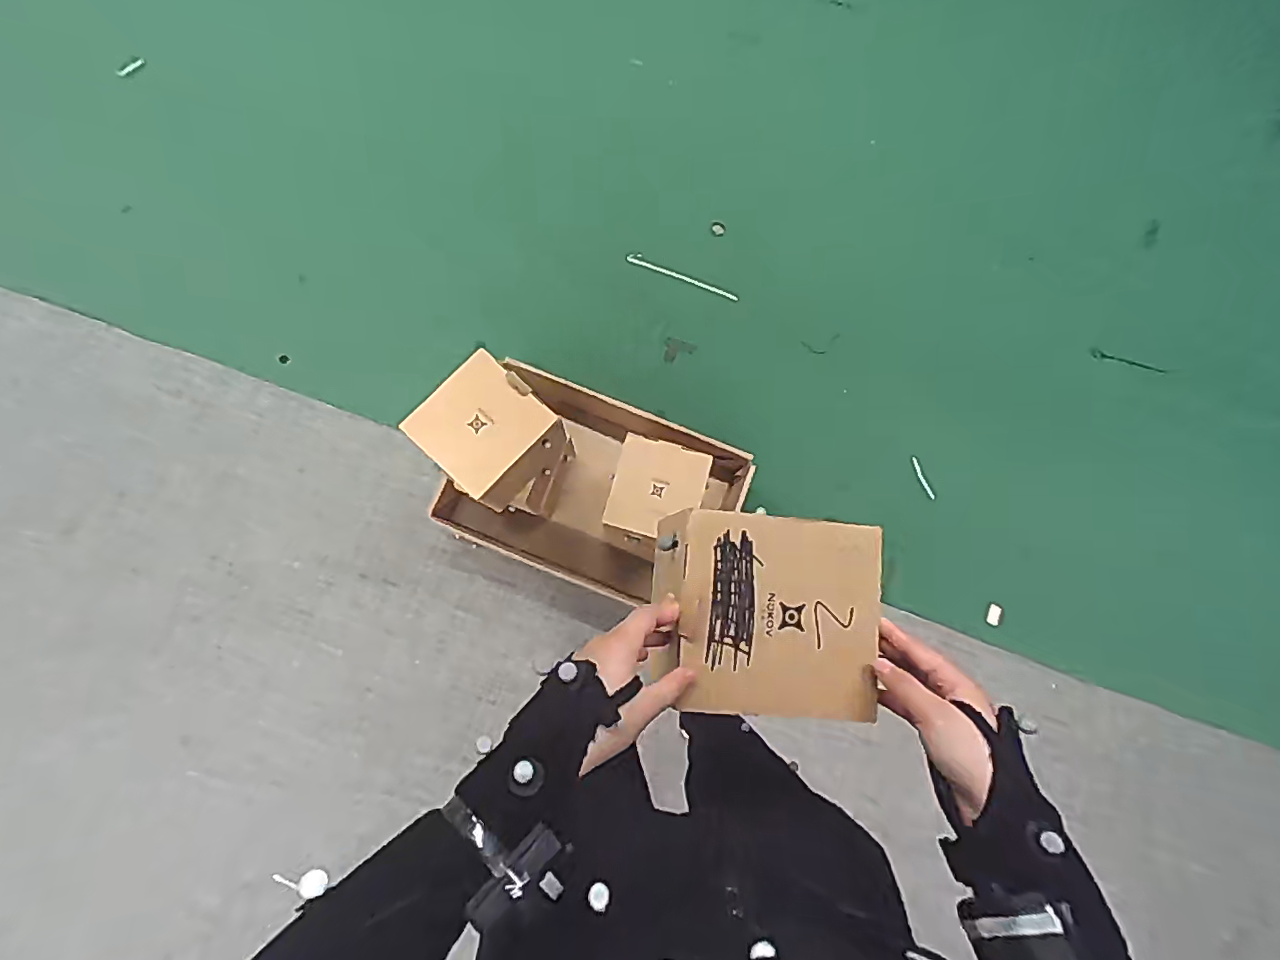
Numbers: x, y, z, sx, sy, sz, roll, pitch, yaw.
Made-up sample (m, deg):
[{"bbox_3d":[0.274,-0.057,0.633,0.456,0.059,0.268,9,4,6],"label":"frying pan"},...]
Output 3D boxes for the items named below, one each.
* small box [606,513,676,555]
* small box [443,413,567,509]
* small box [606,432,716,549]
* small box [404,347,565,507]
[{"bbox_3d":[0.032,0.054,1.208,0.168,0.176,0.179,25,80,3],"label":"small box"},{"bbox_3d":[-0.247,-0.054,1.043,0.168,0.176,0.179,21,79,0],"label":"small box"},{"bbox_3d":[0.037,0.028,1.047,0.168,0.176,0.179,16,82,2],"label":"small box"},{"bbox_3d":[-0.238,-0.074,0.882,0.168,0.176,0.179,43,80,4],"label":"small box"}]
